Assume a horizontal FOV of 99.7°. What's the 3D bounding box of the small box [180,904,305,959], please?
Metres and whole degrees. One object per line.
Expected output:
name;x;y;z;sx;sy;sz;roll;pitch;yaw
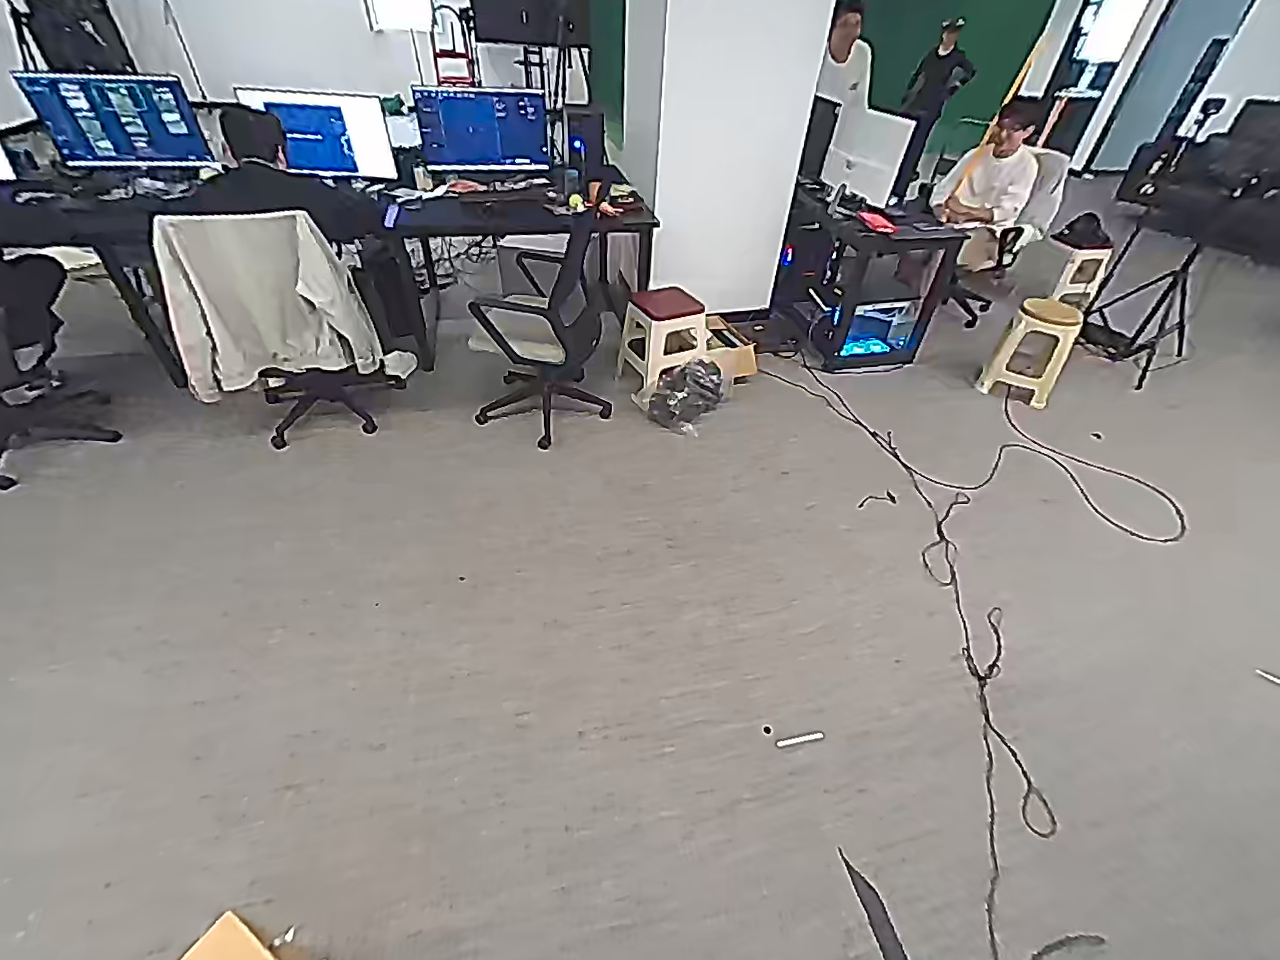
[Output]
small box;-0.678;0.871;0.907;0.179;0.176;0.168;24;44;20

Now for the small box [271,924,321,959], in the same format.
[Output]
small box;-0.686;0.996;1.014;0.179;0.176;0.168;23;44;21
